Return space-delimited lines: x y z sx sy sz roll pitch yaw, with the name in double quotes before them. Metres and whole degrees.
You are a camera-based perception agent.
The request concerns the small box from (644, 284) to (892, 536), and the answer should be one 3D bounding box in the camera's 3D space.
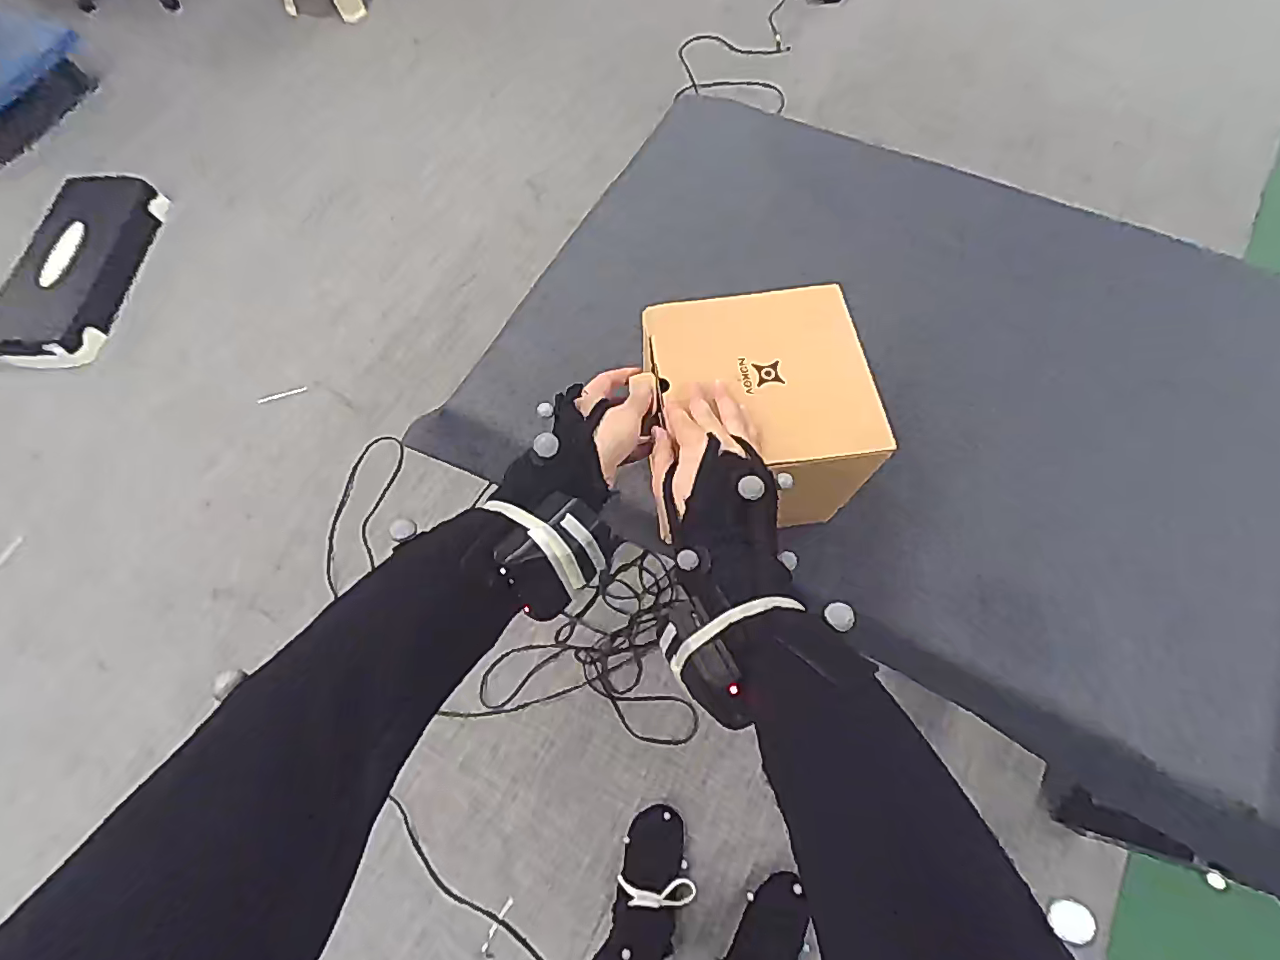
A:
"small box" 0.099 -0.055 0.511 0.179 0.176 0.168 -8 67 -1
